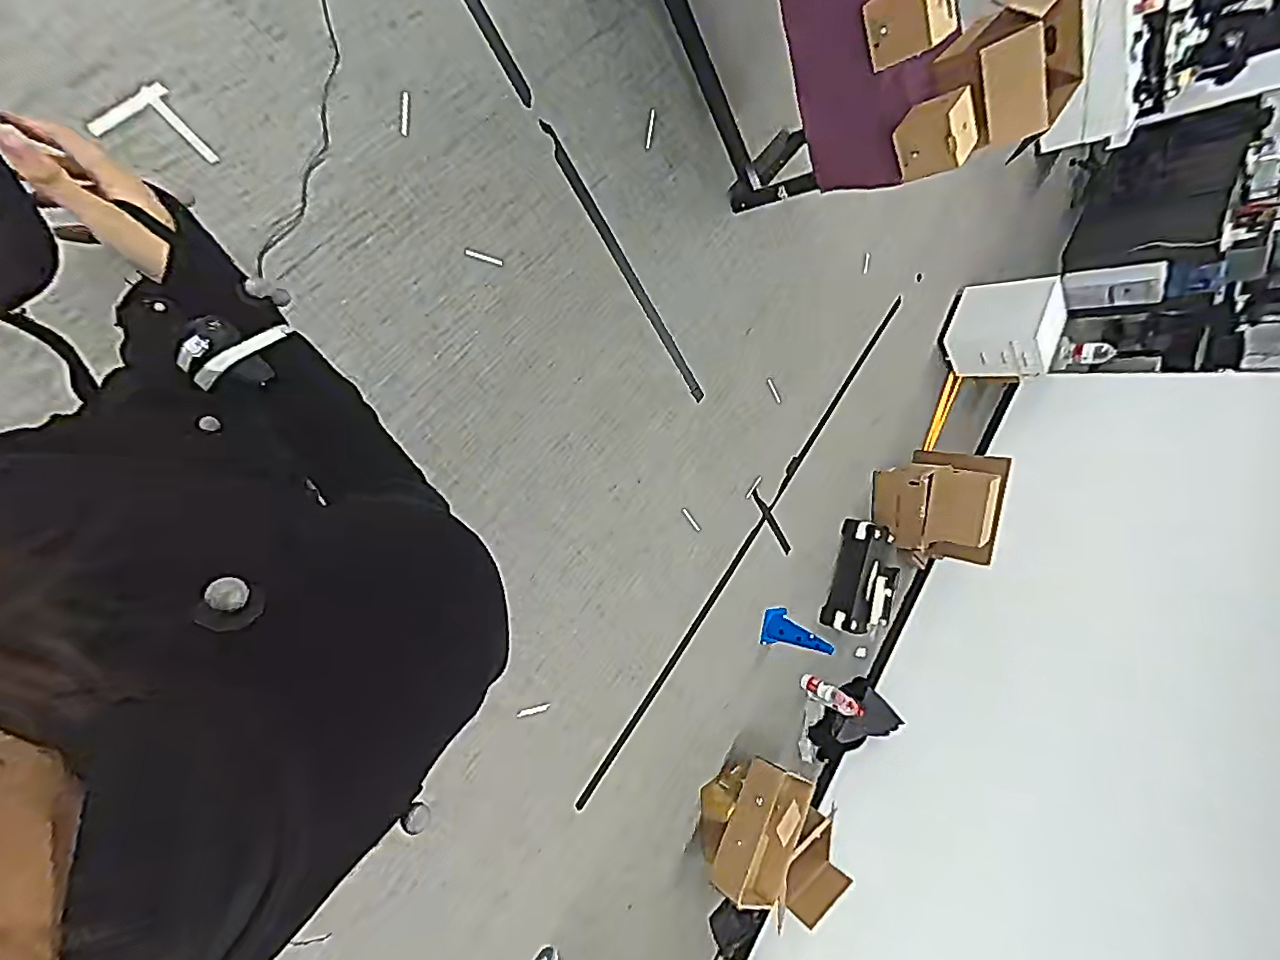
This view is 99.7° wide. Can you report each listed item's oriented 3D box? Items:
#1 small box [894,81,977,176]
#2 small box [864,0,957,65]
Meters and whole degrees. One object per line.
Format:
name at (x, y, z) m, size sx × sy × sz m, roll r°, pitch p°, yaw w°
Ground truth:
small box at (0.925, -1.094, 1.693) m, size 0.179 × 0.176 × 0.168 m, roll -53°, pitch 126°, yaw -20°
small box at (0.752, -1.307, 1.505) m, size 0.179 × 0.176 × 0.168 m, roll -46°, pitch 124°, yaw -24°
